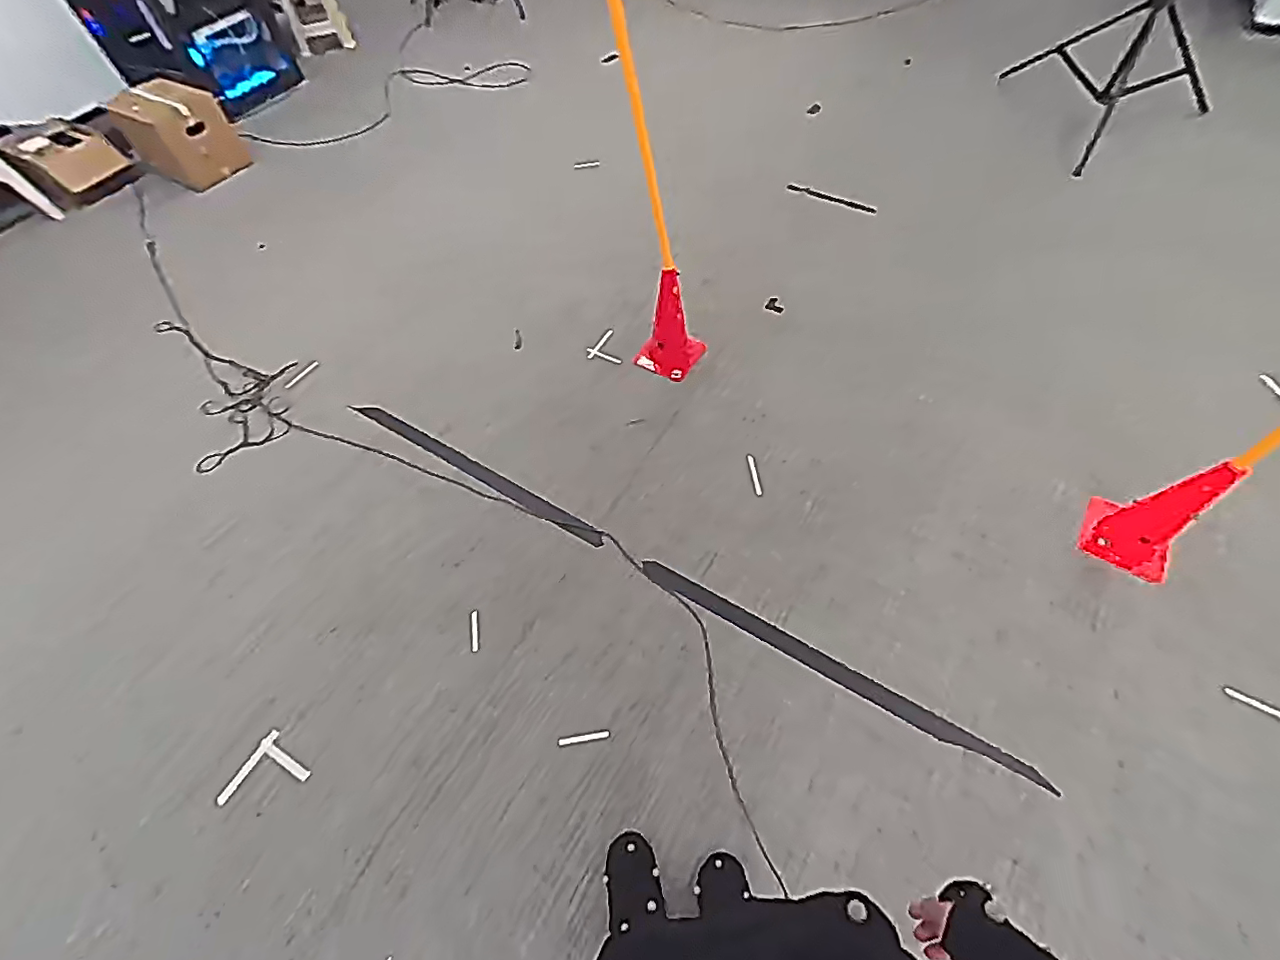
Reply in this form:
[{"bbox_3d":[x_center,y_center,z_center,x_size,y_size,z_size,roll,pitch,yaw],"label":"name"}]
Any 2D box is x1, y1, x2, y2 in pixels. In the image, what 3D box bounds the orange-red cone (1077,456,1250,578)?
[{"bbox_3d":[1.285,0.054,1.295,0.199,0.360,0.198,30,65,19],"label":"orange-red cone"}]
